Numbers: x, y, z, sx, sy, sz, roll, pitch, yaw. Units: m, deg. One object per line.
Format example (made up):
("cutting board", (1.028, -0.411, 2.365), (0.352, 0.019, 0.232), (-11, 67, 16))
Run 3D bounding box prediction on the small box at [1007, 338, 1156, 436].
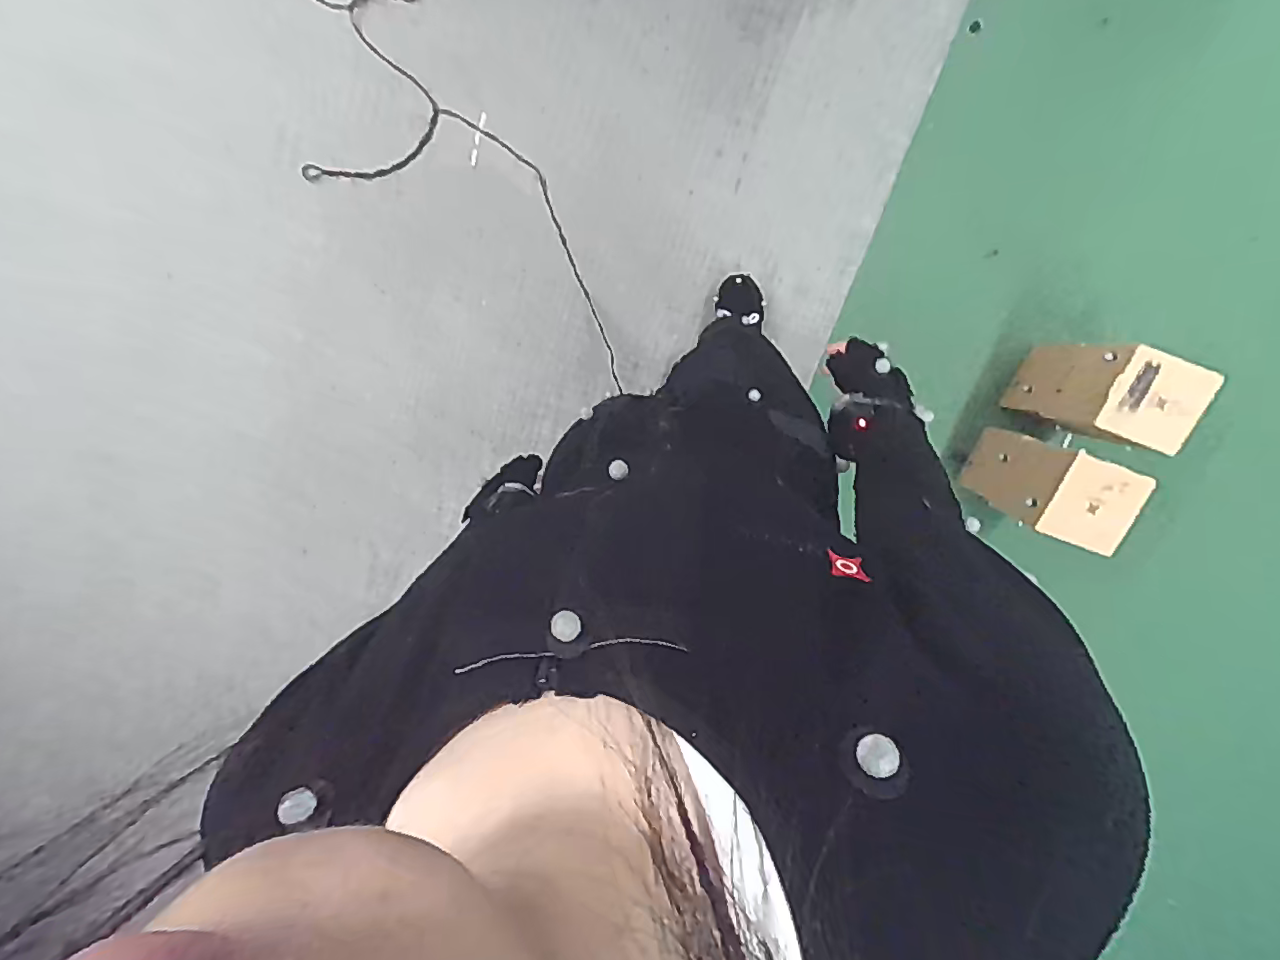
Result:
("small box", (1.015, -0.218, 1.264), (0.179, 0.176, 0.168), (24, 104, 0))
